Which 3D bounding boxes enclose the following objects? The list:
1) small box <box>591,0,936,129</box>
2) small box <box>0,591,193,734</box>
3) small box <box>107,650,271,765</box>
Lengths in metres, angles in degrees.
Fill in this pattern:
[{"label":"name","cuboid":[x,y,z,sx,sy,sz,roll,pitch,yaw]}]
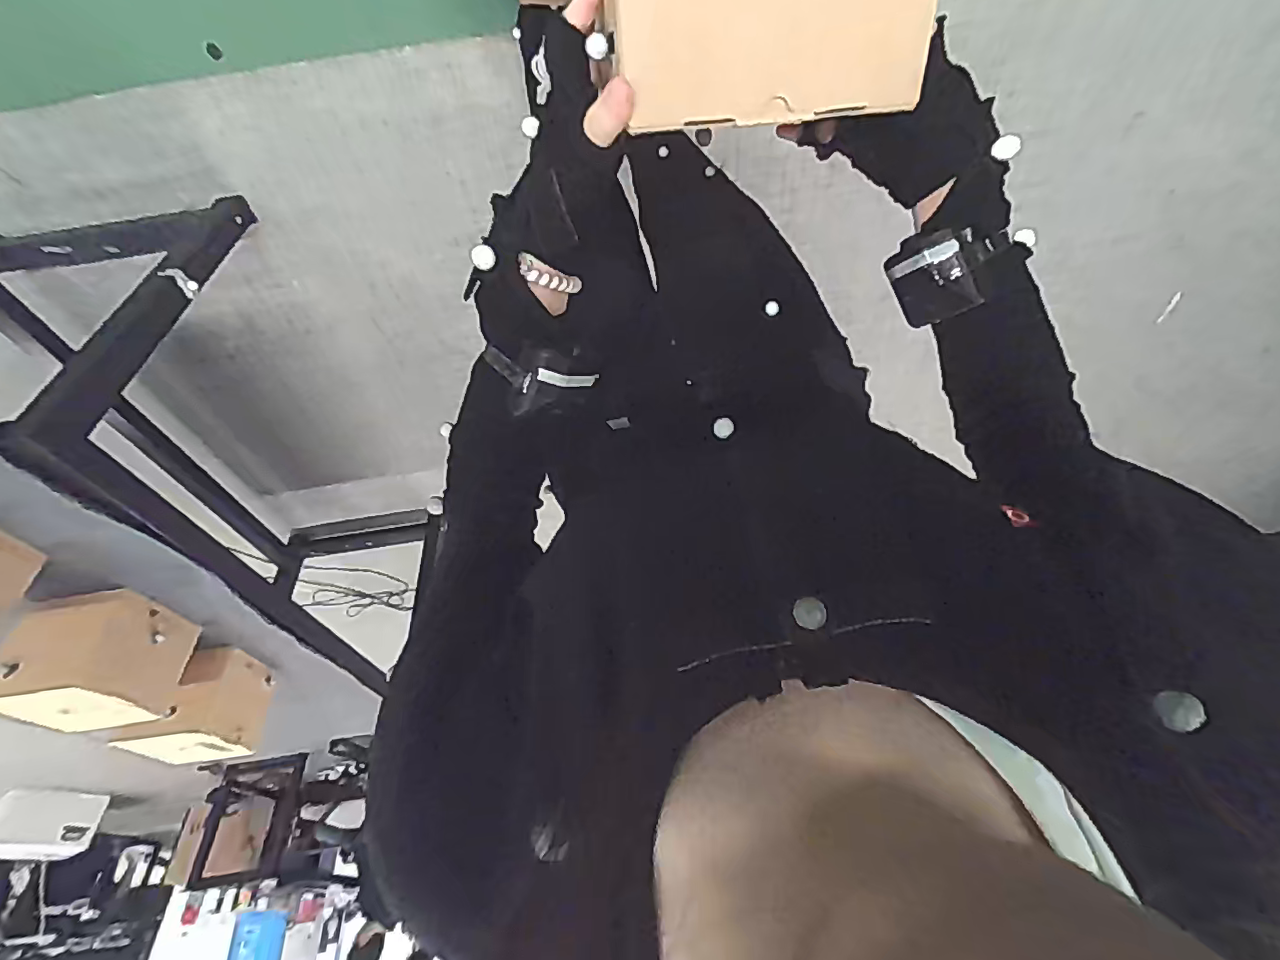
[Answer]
[{"label":"small box","cuboid":[0.057,-0.315,0.316,0.168,0.176,0.179,-9,125,-5]},{"label":"small box","cuboid":[-0.916,0.305,0.907,0.179,0.176,0.168,-9,141,1]},{"label":"small box","cuboid":[-0.889,0.457,1.094,0.179,0.176,0.168,-8,139,1]}]
